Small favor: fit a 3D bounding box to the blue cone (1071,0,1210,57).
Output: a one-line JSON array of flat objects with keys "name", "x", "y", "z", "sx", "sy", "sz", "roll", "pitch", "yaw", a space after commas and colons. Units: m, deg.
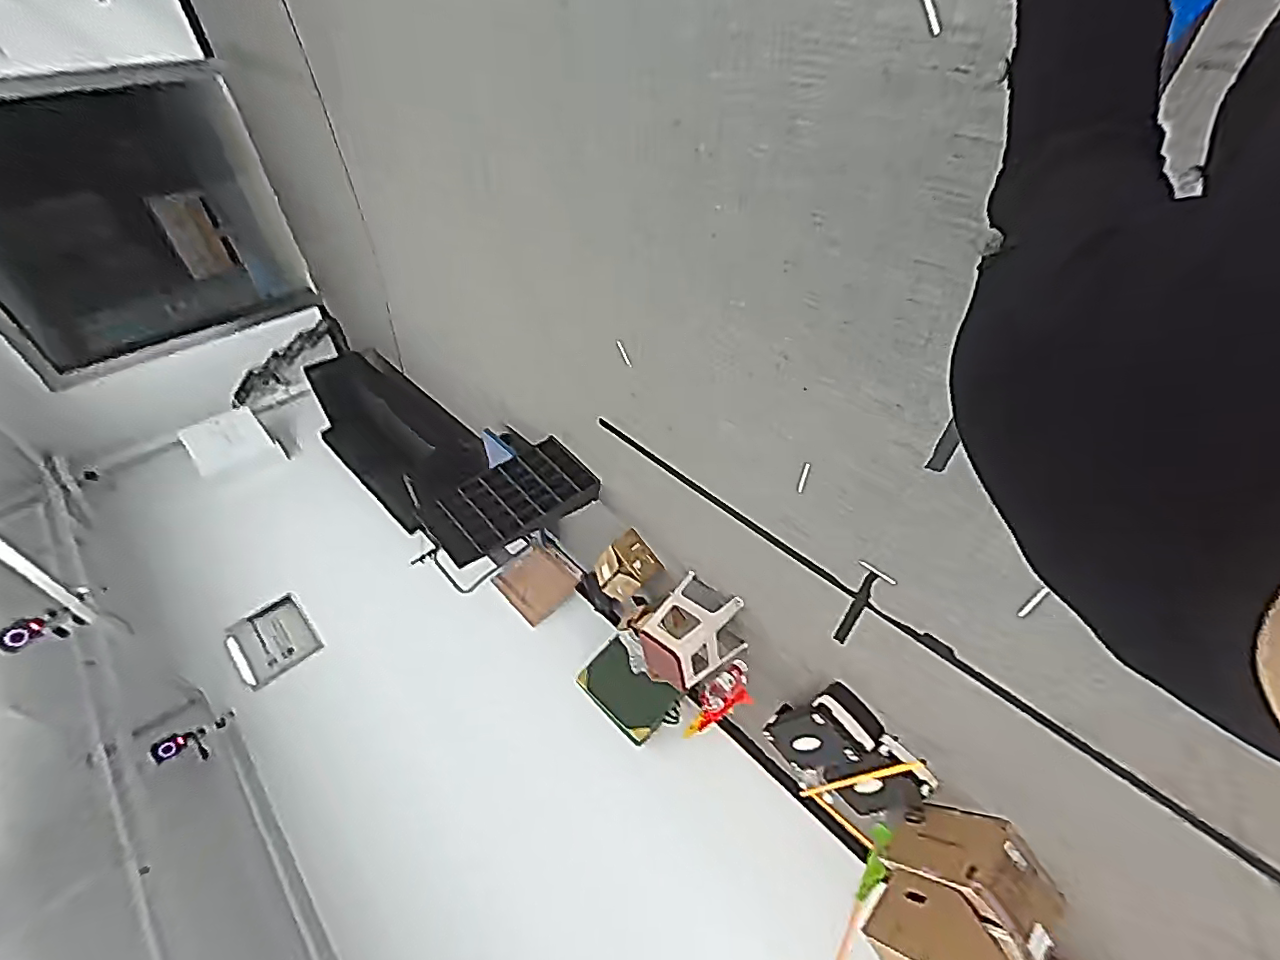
[{"name": "blue cone", "x": 0.748, "y": -0.766, "z": 0.818, "sx": 0.193, "sy": 0.380, "sz": 0.192, "roll": 50, "pitch": 151, "yaw": 13}]
